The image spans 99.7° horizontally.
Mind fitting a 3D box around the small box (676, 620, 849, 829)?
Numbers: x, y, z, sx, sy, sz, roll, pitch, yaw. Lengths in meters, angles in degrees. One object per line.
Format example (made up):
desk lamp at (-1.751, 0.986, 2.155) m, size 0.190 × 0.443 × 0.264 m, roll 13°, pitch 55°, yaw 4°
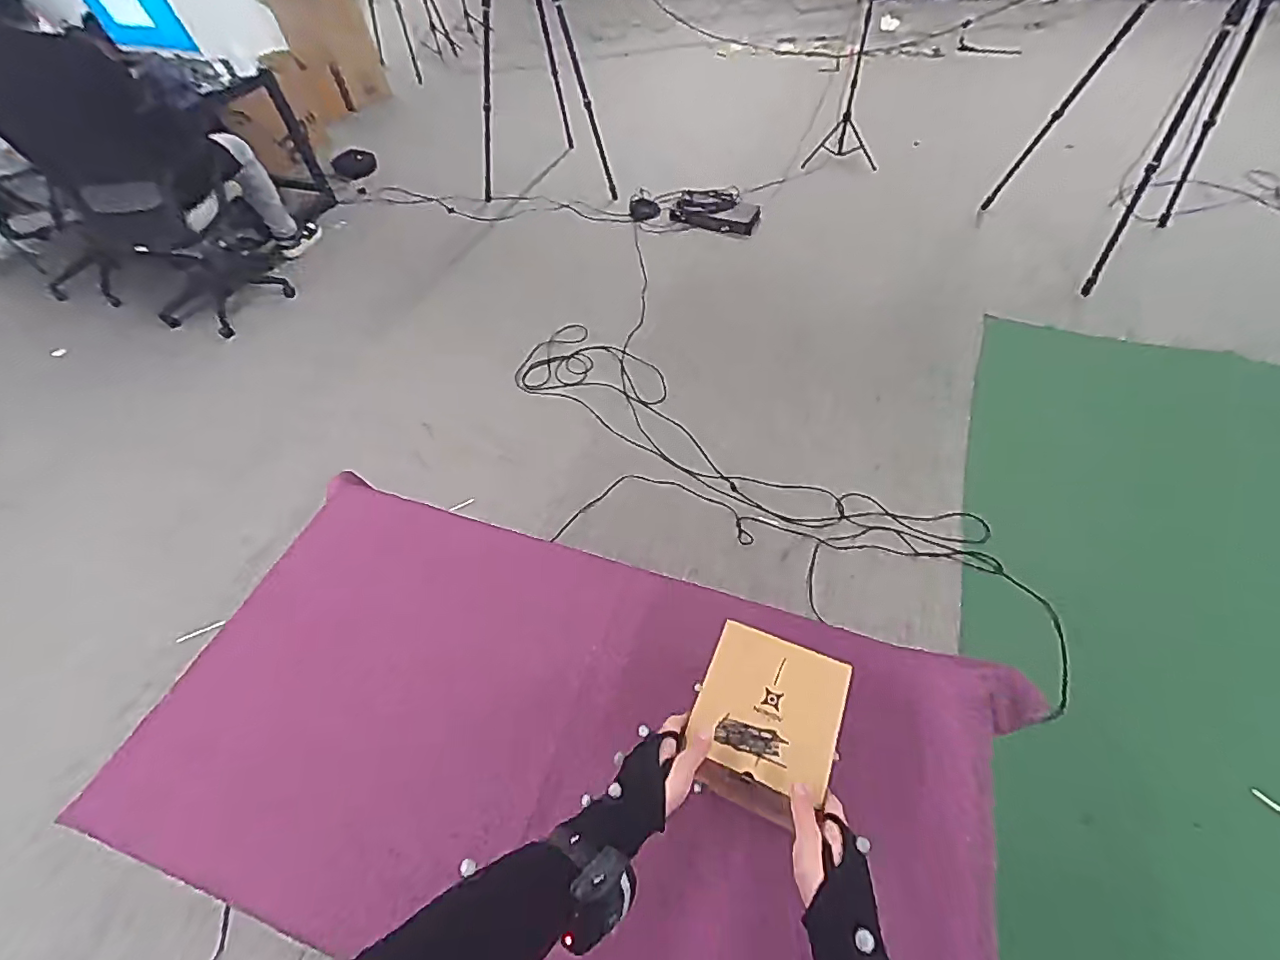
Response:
small box at (0.156, 0.322, 0.706) m, size 0.168 × 0.176 × 0.179 m, roll 18°, pitch 53°, yaw 18°
